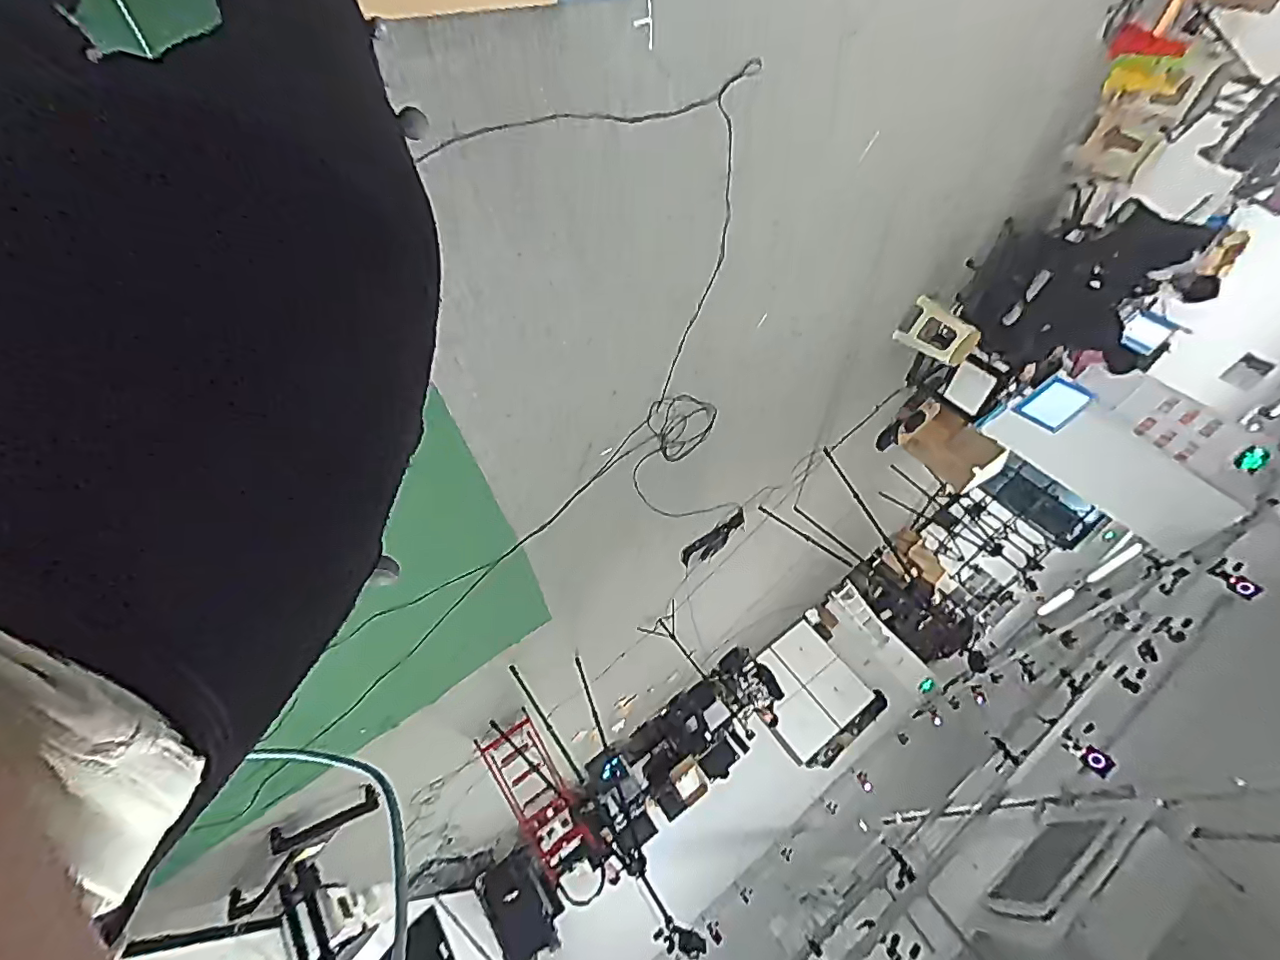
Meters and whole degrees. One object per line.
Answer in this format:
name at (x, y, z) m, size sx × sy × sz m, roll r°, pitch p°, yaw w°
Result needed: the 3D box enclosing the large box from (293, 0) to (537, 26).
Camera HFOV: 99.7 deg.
large box at (-0.398, -0.956, 0.837) m, size 0.408 × 0.320 × 0.320 m, roll -28°, pitch 148°, yaw -23°
